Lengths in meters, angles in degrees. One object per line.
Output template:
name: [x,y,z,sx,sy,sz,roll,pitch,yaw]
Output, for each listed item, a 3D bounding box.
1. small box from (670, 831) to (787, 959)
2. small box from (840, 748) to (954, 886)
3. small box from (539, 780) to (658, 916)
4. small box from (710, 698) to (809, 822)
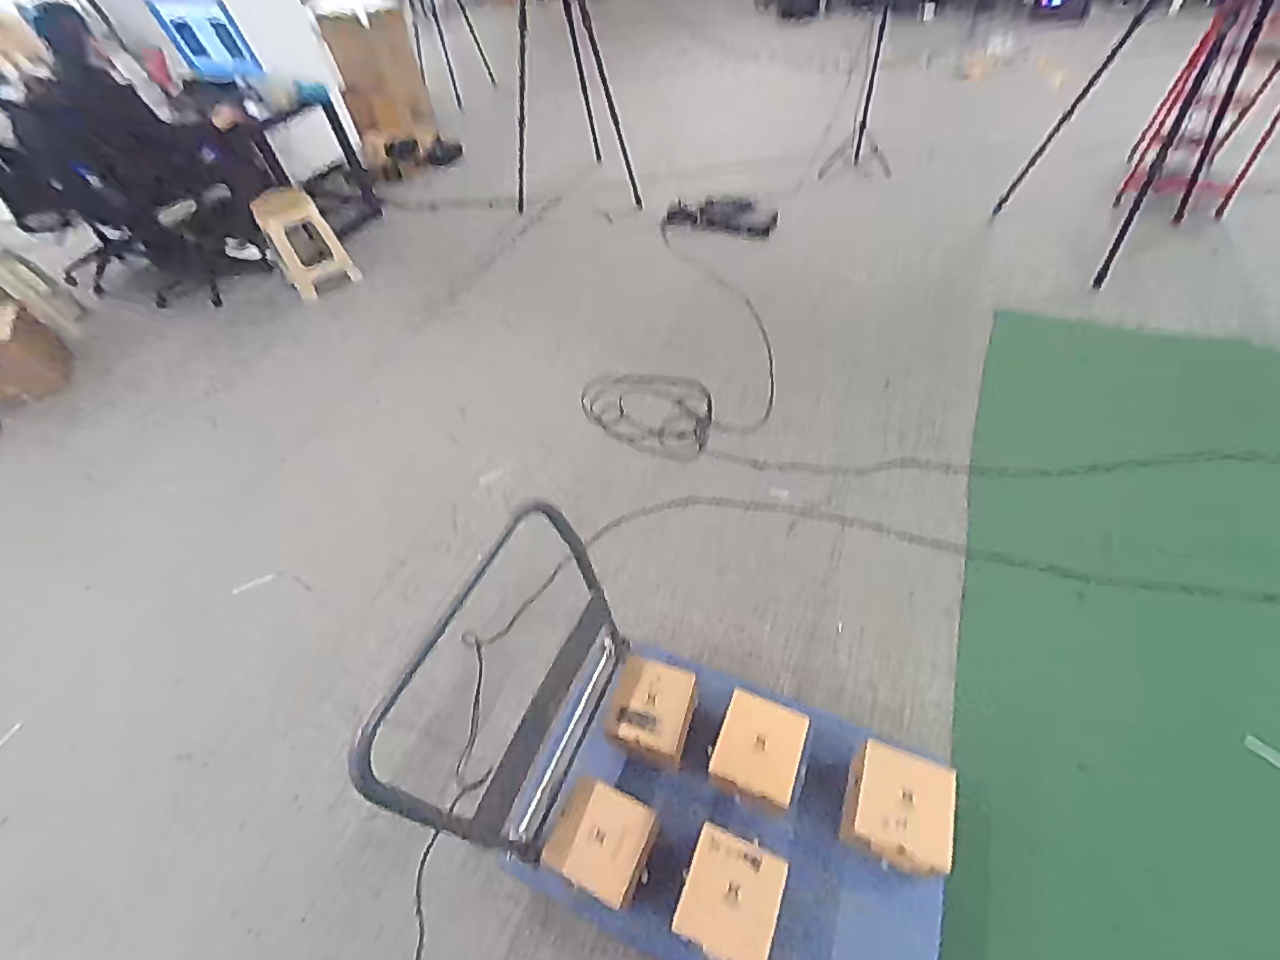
small box: [0.168,0.807,1.022,0.168,0.176,0.179,17,54,19]
small box: [0.511,0.679,1.088,0.168,0.176,0.179,15,54,19]
small box: [-0.075,0.751,1.100,0.179,0.176,0.168,19,55,20]
small box: [0.255,0.612,1.179,0.168,0.176,0.179,16,56,19]
